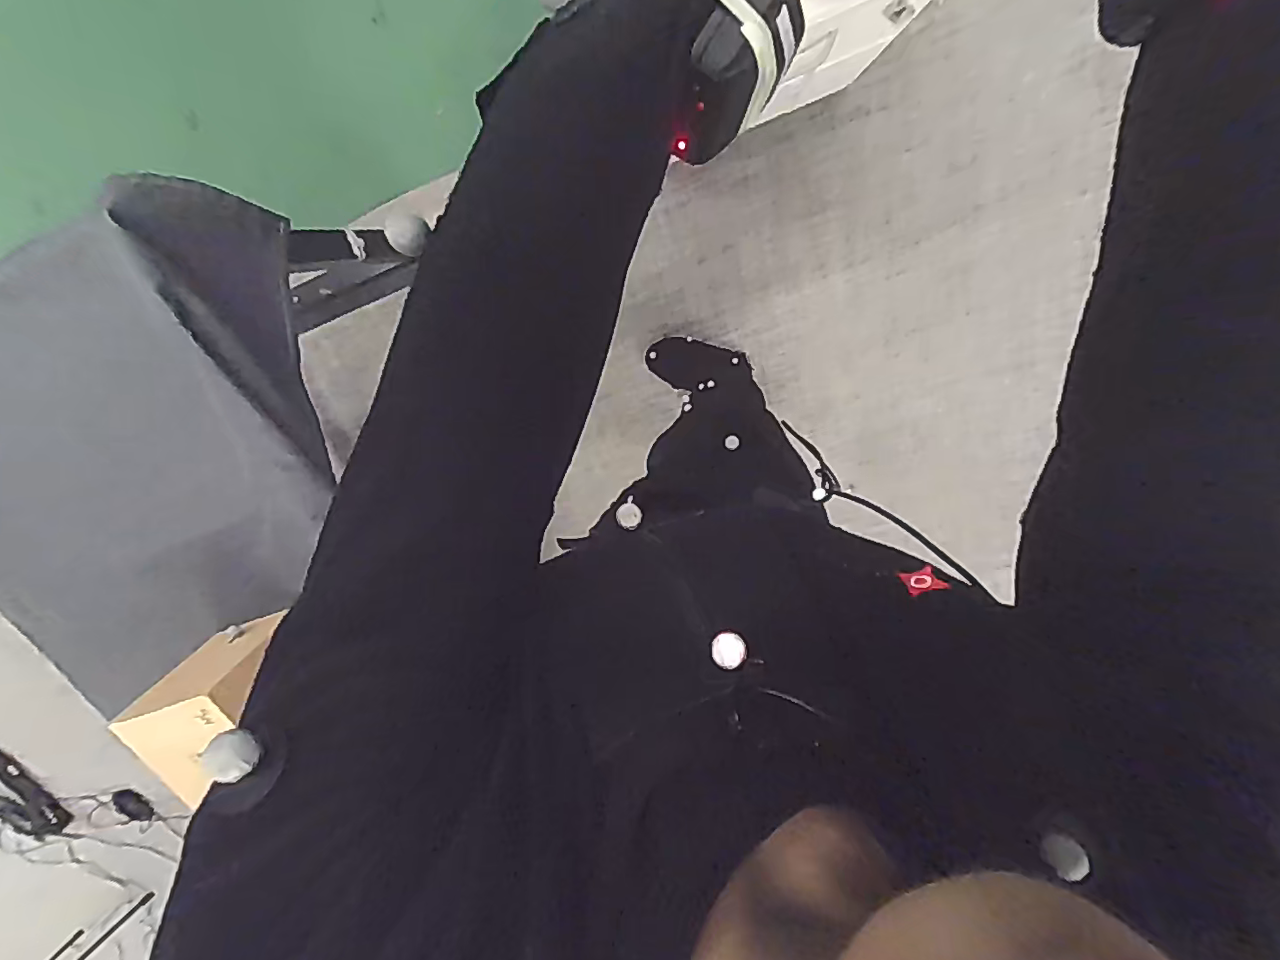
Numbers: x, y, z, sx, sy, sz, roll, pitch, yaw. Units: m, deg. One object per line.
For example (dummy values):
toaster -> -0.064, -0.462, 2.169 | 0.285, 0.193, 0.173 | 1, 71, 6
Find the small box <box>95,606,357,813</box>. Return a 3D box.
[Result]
small box -> -0.523, 0.295, 0.711 | 0.179, 0.176, 0.168 | -19, 111, 15
